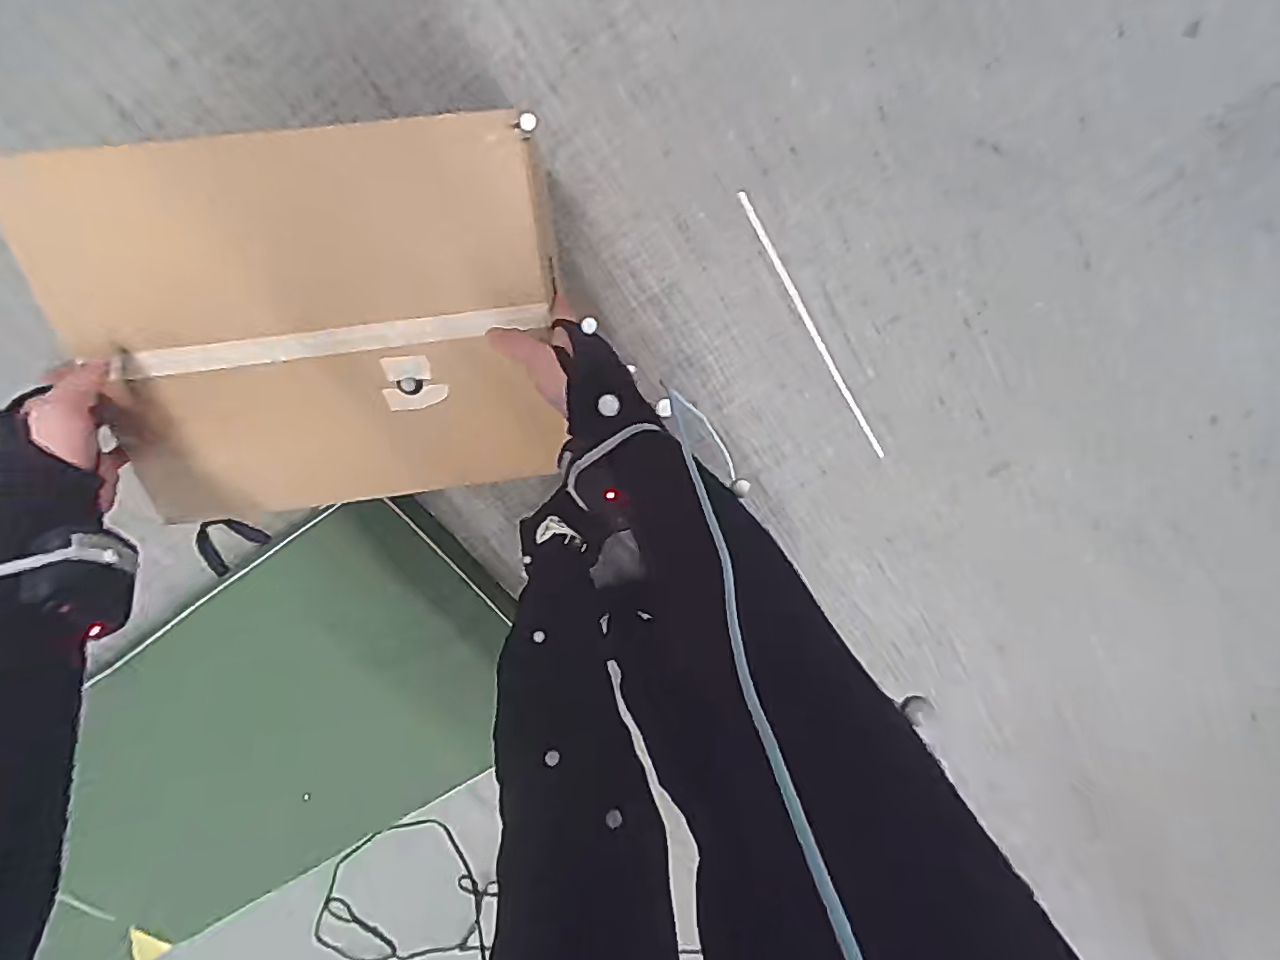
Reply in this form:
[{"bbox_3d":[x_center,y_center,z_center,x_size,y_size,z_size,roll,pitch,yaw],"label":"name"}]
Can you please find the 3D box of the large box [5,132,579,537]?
[{"bbox_3d":[-0.294,-0.169,0.618,0.408,0.320,0.320,-8,115,-5],"label":"large box"}]
